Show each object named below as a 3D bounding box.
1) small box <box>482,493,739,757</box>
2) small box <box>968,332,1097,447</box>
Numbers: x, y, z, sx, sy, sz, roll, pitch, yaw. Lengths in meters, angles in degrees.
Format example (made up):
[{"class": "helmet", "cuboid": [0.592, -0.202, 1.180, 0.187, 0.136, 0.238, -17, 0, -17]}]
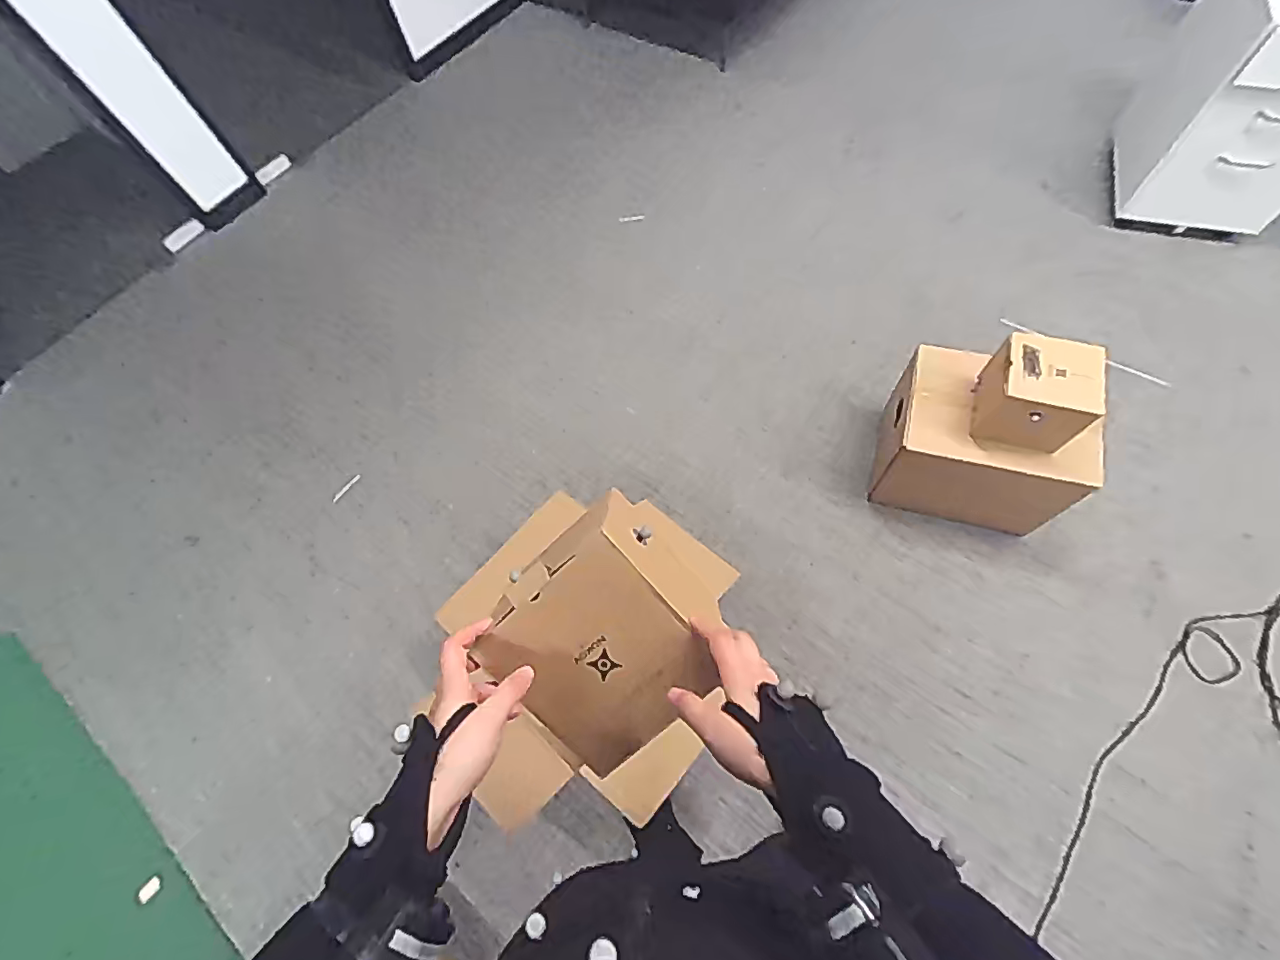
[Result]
[{"class": "small box", "cuboid": [-0.025, 0.131, 0.561, 0.168, 0.176, 0.179, -42, 98, 10]}, {"class": "small box", "cuboid": [0.839, -0.190, 1.168, 0.179, 0.176, 0.168, 14, 68, 13]}]
